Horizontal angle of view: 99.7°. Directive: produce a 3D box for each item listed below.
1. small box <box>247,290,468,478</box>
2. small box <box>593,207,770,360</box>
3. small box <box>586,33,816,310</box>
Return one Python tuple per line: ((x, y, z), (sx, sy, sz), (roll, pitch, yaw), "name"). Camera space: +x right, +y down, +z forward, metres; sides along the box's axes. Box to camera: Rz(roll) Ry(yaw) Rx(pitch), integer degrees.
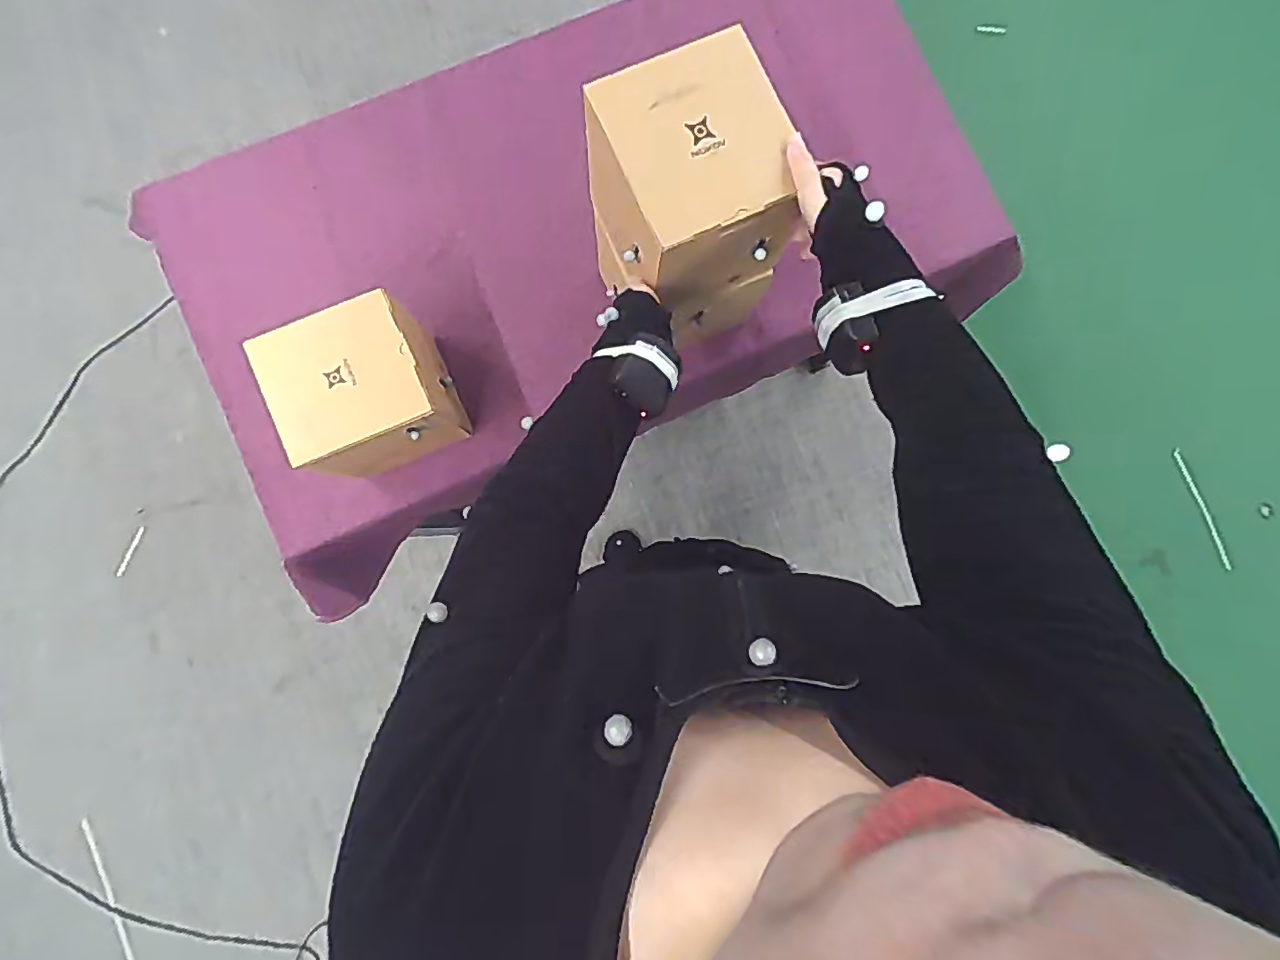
((-0.355, -0.112, 0.714), (0.179, 0.176, 0.168), (-24, 86, -5), "small box")
((0.049, -0.285, 0.742), (0.179, 0.176, 0.168), (-22, 87, -4), "small box")
((0.054, -0.306, 0.580), (0.168, 0.176, 0.179), (-24, 86, -5), "small box")
